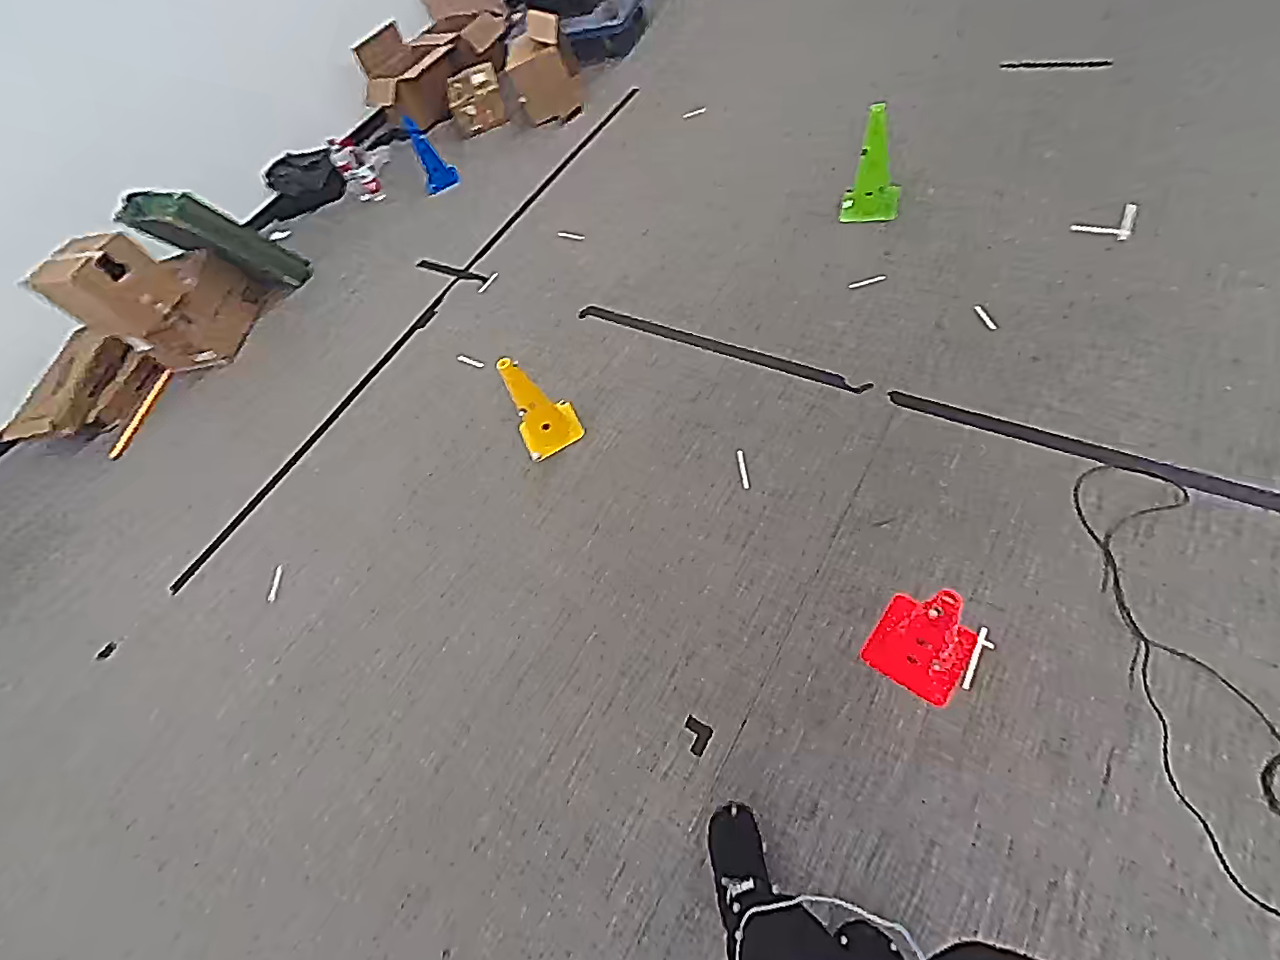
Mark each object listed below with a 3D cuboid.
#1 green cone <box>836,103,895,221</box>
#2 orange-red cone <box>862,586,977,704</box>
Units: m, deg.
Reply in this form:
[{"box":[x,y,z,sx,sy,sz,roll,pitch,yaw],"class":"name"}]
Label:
[{"box":[0.830,-1.154,1.951,0.202,0.368,0.200,8,63,21],"class":"green cone"},{"box":[0.603,0.301,1.124,0.199,0.360,0.198,31,72,32],"class":"orange-red cone"}]
